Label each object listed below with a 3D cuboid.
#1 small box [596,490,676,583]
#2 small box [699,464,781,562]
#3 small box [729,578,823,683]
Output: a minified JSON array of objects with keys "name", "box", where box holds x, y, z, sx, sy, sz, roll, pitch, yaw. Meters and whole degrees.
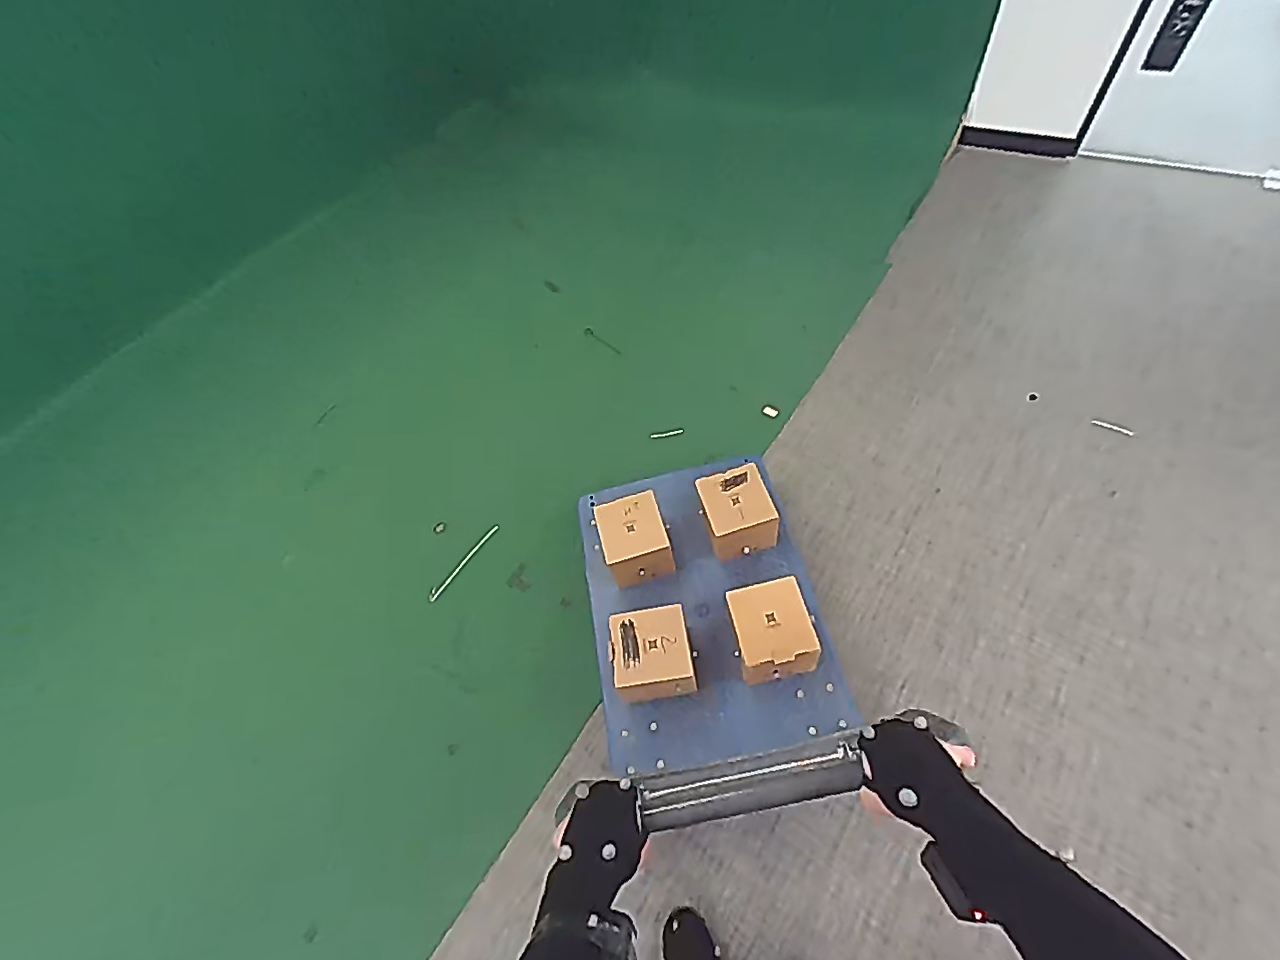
[{"name":"small box","box":[-0.007,0.159,1.438,0.168,0.176,0.179,-16,57,-1]},{"name":"small box","box":[0.261,0.090,1.433,0.168,0.176,0.179,-17,58,0]},{"name":"small box","box":[0.307,0.353,1.261,0.168,0.176,0.179,-13,57,2]}]
